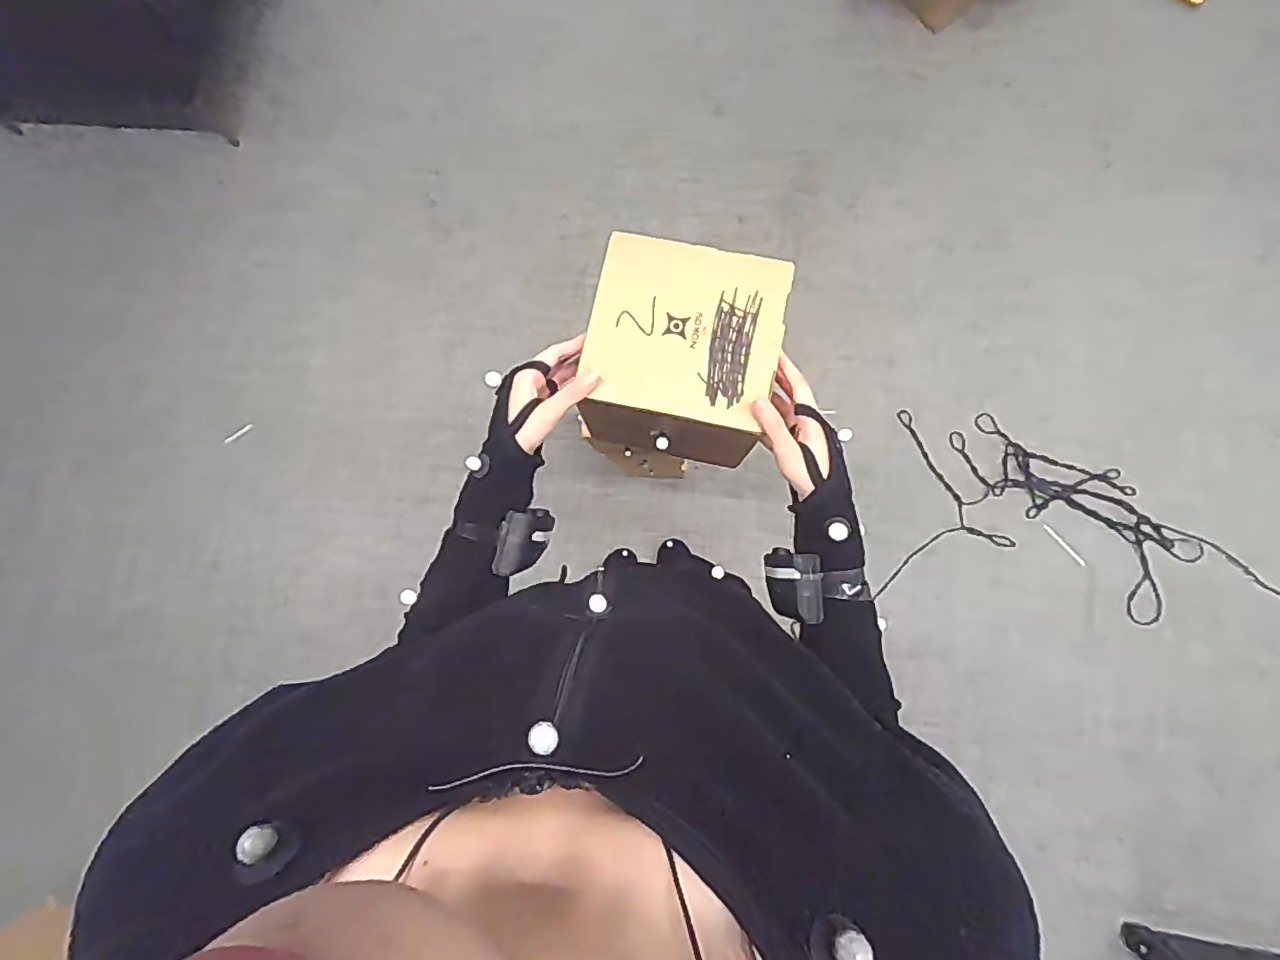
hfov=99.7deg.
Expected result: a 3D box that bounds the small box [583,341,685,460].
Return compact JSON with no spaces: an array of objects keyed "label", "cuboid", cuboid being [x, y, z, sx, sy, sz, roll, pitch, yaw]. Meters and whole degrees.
[{"label":"small box","cuboid":[-0.003,-0.140,0.994,0.168,0.176,0.179,2,83,6]}]

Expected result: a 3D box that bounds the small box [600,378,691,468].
[{"label":"small box","cuboid":[0.016,-0.120,1.155,0.179,0.176,0.168,3,82,5]}]

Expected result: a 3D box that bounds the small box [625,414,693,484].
[{"label":"small box","cuboid":[0.051,-0.086,1.479,0.179,0.176,0.168,5,82,5]}]

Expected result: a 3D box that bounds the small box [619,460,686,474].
[{"label":"small box","cuboid":[0.027,-0.111,1.319,0.179,0.176,0.168,5,83,5]}]
